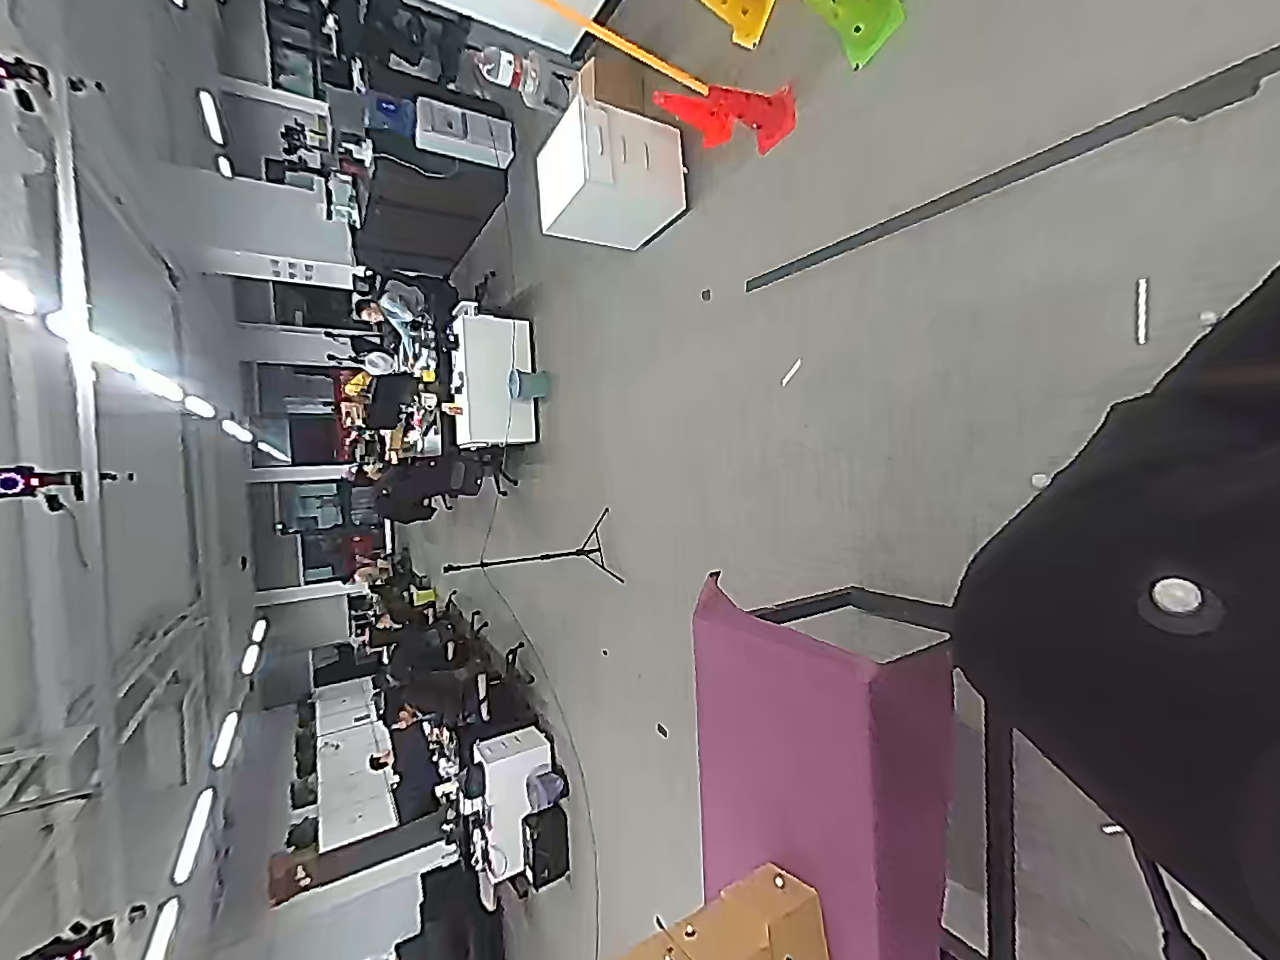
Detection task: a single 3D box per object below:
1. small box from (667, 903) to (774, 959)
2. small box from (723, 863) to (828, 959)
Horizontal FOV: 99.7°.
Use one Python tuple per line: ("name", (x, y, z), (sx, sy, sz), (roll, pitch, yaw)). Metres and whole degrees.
("small box", (0.181, 1.097, 1.206), (0.179, 0.176, 0.168), (-8, 87, 59))
("small box", (0.324, 1.065, 1.284), (0.168, 0.176, 0.179), (-18, 77, 58))
